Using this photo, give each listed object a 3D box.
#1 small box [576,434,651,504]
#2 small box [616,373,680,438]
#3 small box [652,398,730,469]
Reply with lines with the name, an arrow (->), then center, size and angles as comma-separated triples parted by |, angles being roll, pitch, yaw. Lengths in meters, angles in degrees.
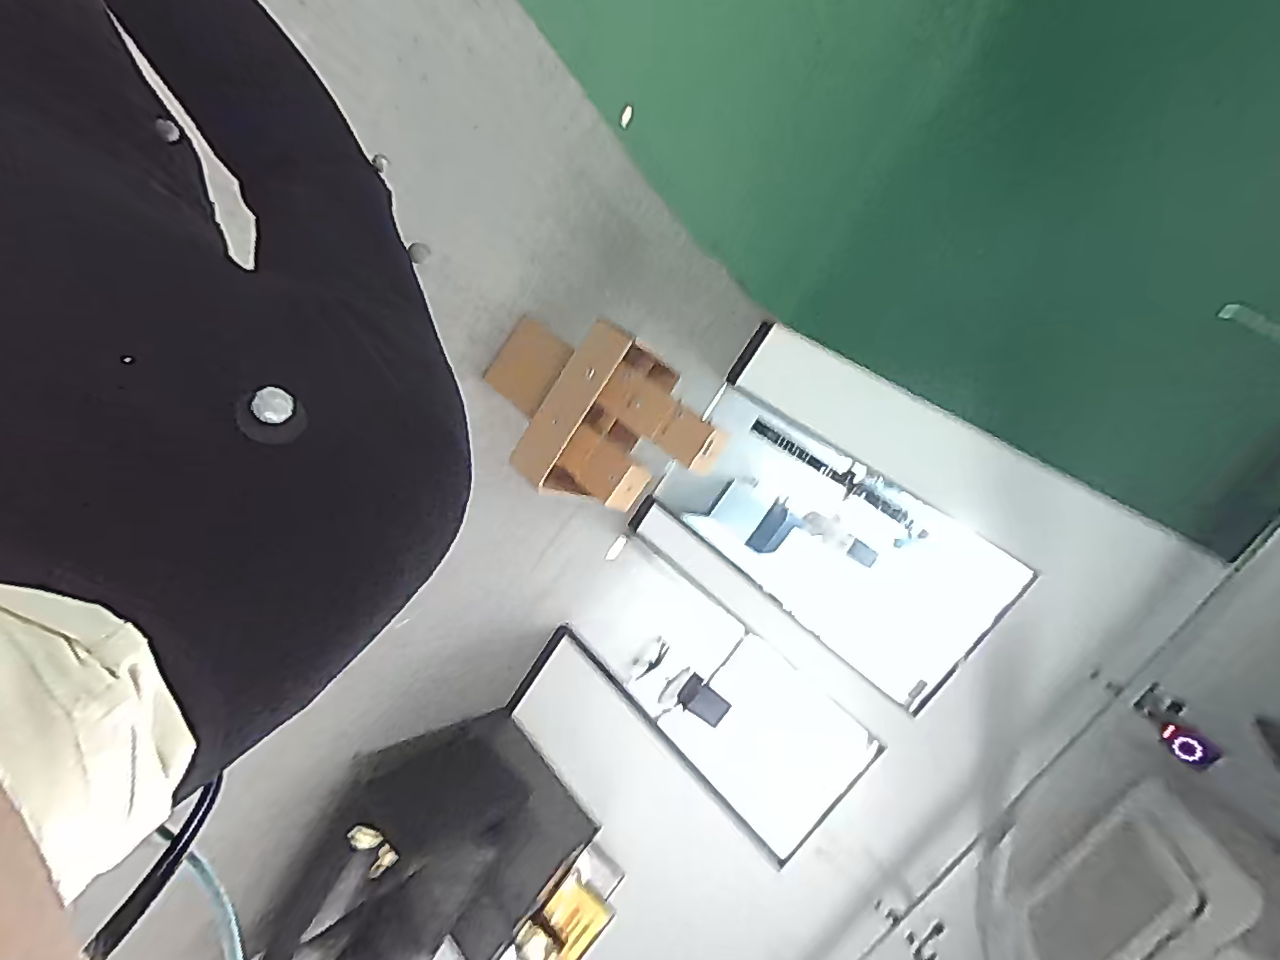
small box -> -0.098, -0.039, 1.931 | 0.179, 0.176, 0.168 | -54, 153, 9
small box -> 0.050, -0.250, 1.885 | 0.168, 0.176, 0.179 | -56, 154, 10
small box -> 0.170, -0.158, 1.820 | 0.168, 0.176, 0.179 | -56, 155, 12
